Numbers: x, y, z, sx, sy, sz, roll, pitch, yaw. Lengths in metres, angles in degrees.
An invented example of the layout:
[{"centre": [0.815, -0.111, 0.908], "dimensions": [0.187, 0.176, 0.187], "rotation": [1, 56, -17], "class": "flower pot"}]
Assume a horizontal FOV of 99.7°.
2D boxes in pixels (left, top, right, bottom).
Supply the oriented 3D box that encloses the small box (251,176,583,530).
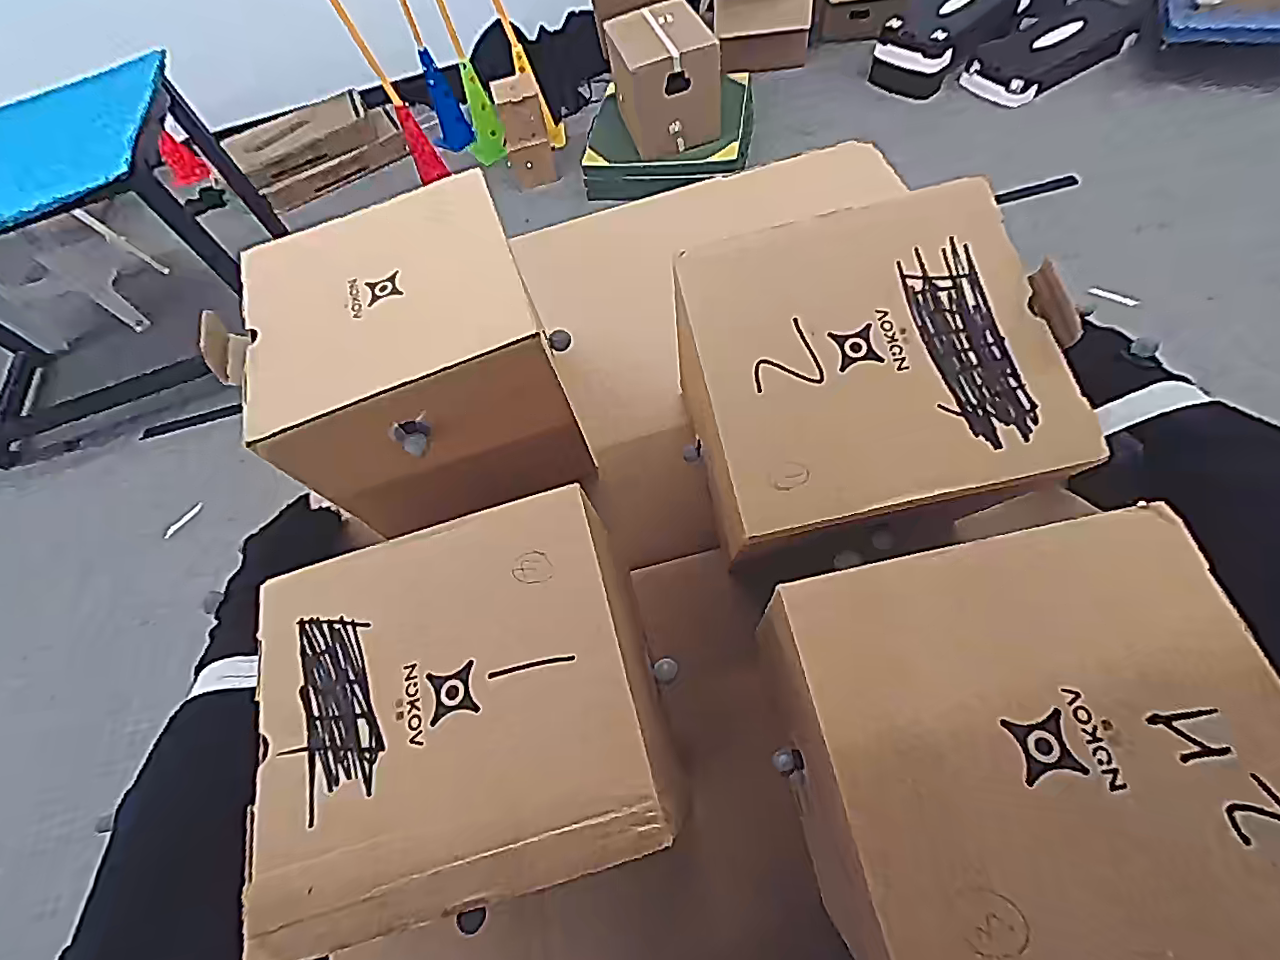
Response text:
[{"centre": [-0.154, -0.085, 0.418], "dimensions": [0.179, 0.176, 0.168], "rotation": [-22, 62, -1], "class": "small box"}]
